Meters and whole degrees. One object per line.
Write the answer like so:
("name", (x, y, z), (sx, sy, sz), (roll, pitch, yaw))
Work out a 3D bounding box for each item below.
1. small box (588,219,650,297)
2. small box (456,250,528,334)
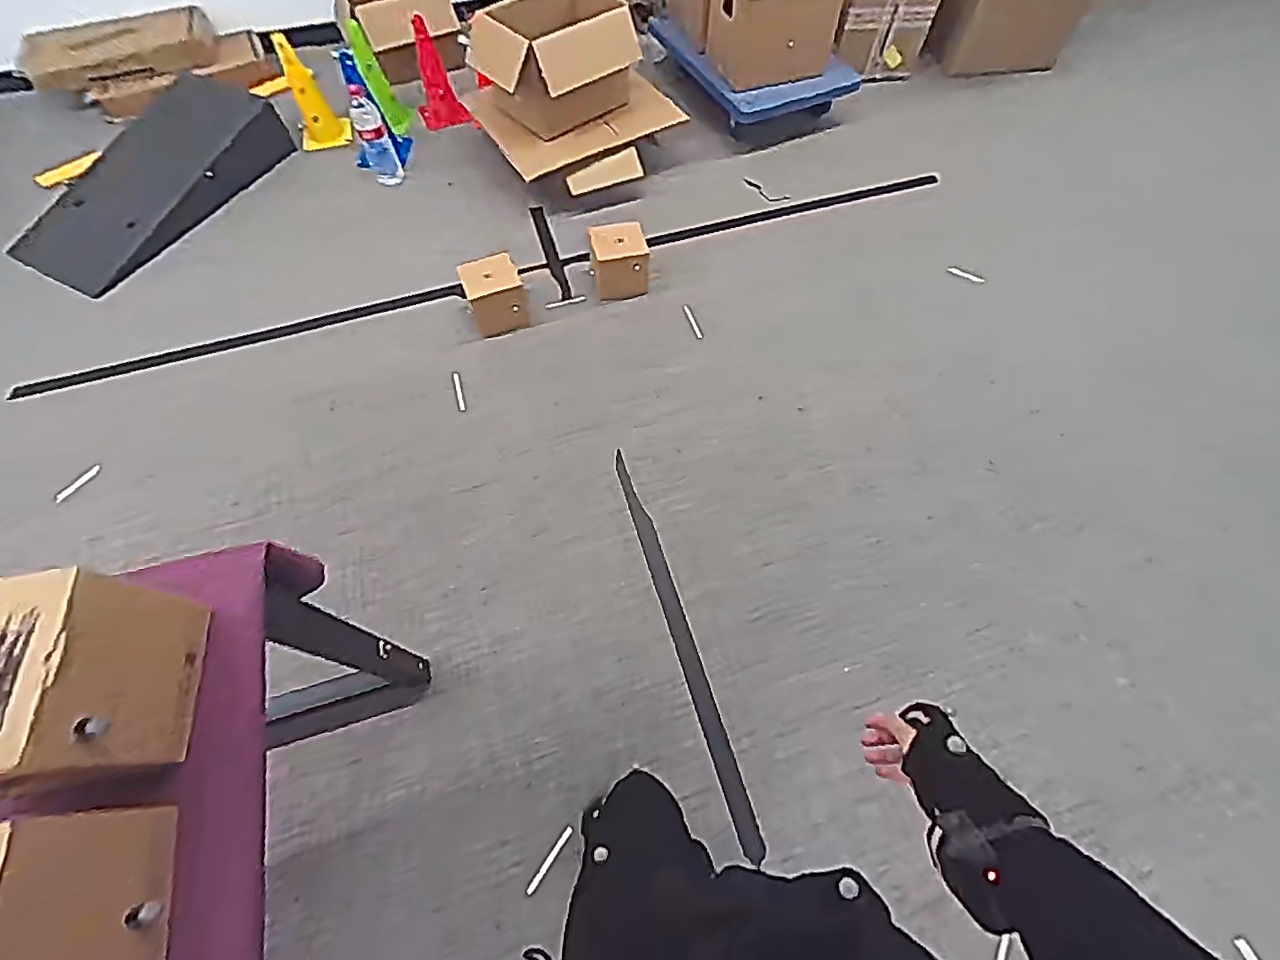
("small box", (-0.073, -0.751, 1.837), (0.179, 0.176, 0.168), (-12, 63, -7))
("small box", (-0.474, -0.608, 1.761), (0.179, 0.176, 0.168), (-22, 64, -10))
